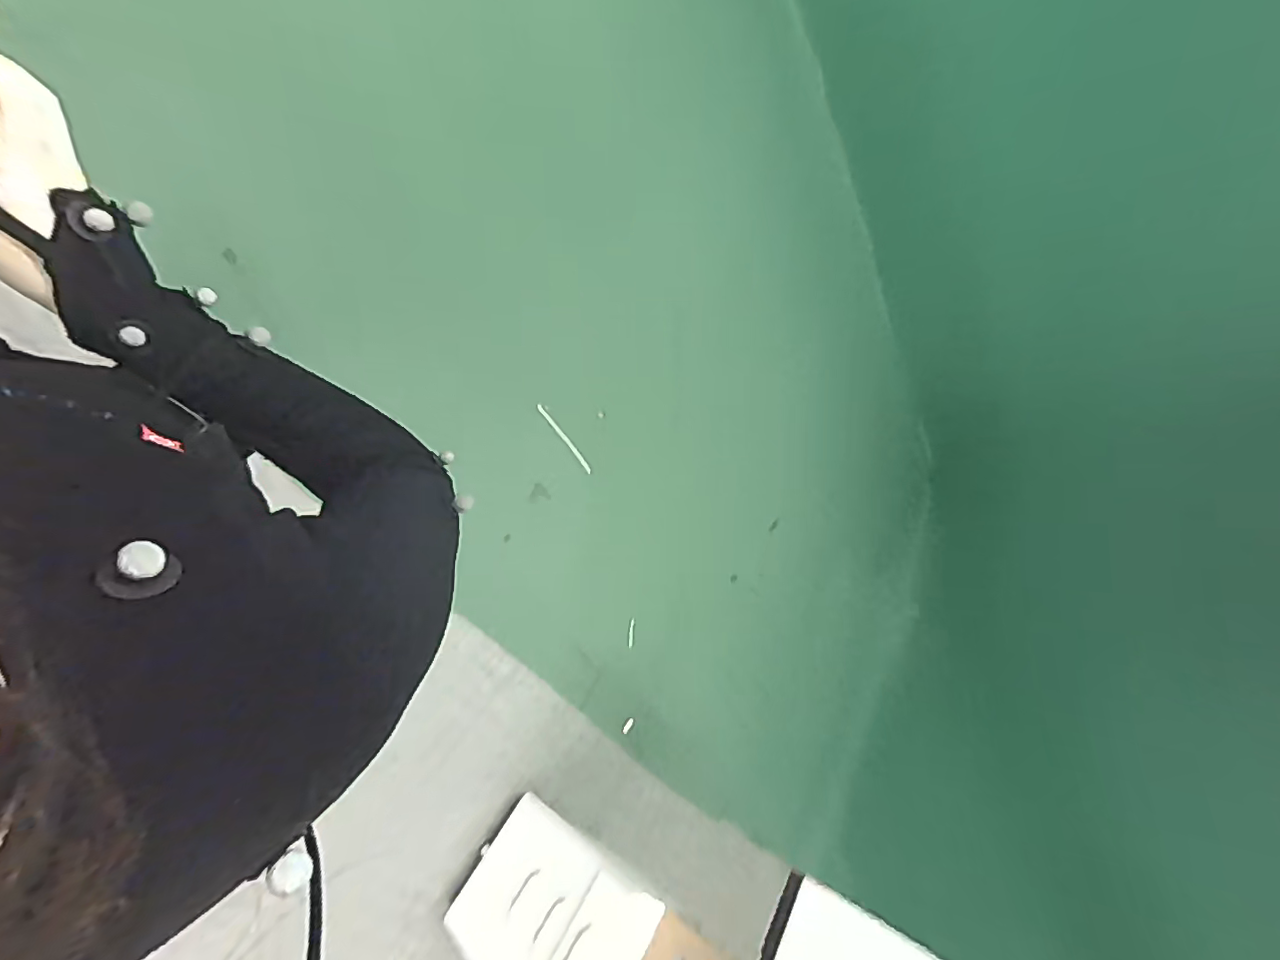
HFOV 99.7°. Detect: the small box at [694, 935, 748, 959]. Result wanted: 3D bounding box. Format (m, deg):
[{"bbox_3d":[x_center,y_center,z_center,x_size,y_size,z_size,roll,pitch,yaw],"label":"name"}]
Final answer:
[{"bbox_3d":[0.211,1.259,1.304,0.168,0.176,0.179,50,62,-36],"label":"small box"}]
